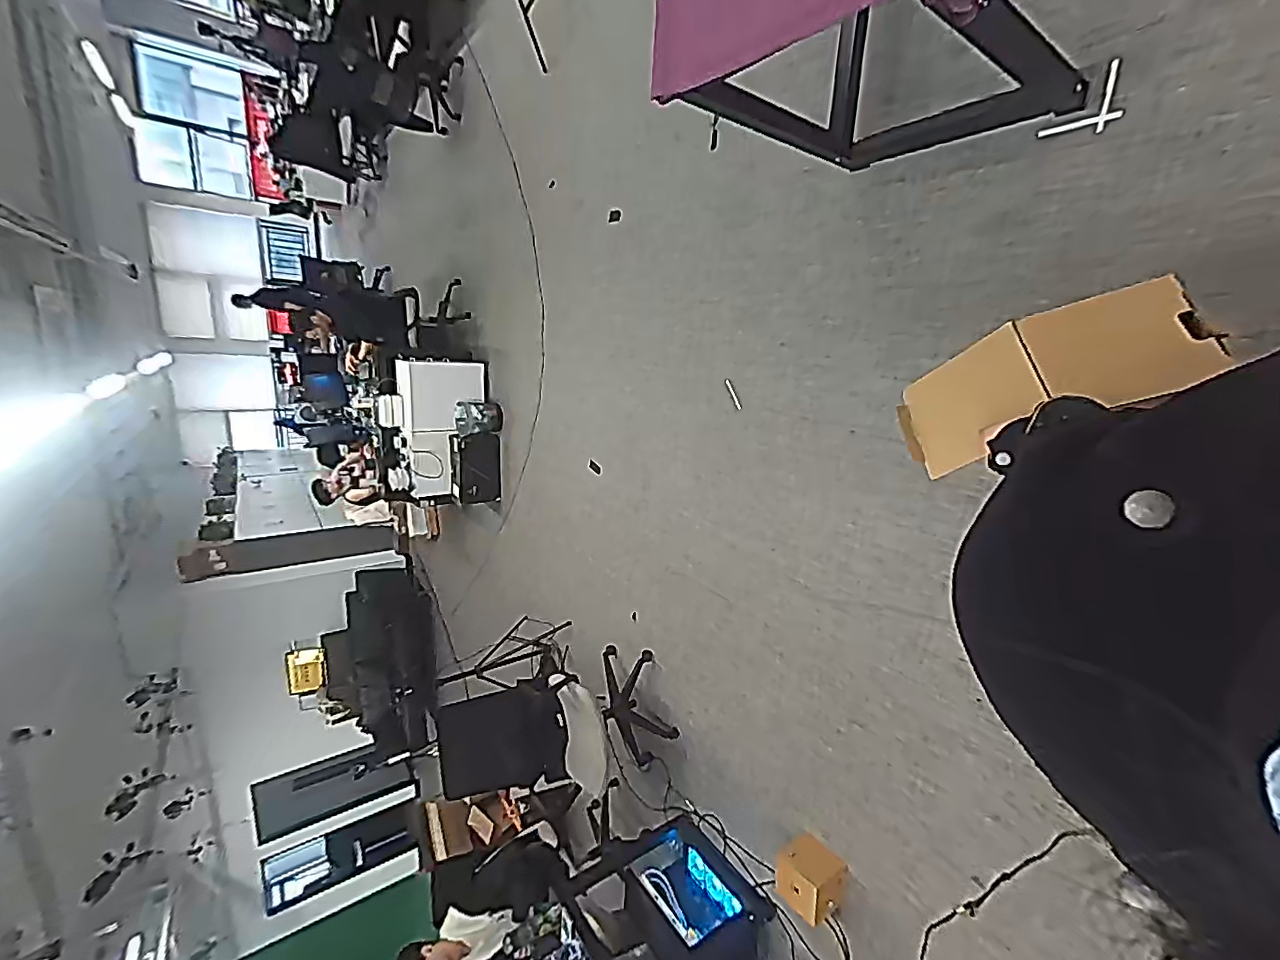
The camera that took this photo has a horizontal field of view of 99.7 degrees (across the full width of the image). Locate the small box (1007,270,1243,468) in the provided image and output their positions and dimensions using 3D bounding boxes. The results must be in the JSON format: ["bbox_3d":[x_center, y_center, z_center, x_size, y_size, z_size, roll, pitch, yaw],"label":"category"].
[{"bbox_3d":[0.609,-0.132,0.715,0.179,0.176,0.168,-14,61,22],"label":"small box"}]
